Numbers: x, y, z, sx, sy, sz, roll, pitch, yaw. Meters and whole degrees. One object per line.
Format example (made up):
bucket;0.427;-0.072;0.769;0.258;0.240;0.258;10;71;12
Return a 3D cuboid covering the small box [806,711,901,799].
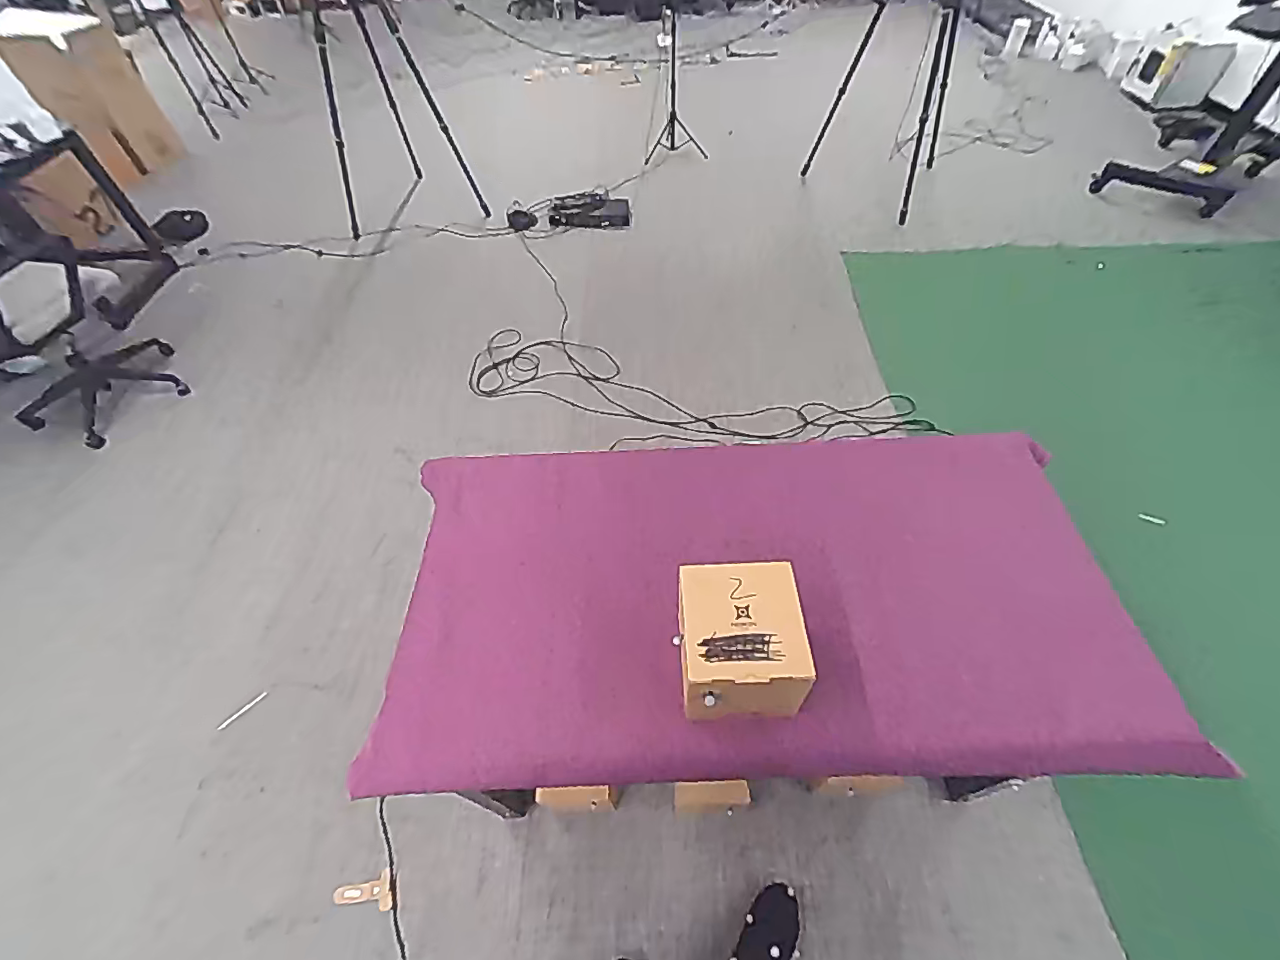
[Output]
small box;0.519;0.689;1.349;0.179;0.176;0.168;0;52;4

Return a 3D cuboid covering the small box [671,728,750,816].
small box;0.168;0.726;1.343;0.179;0.176;0.168;-2;51;3

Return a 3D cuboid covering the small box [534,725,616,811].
small box;-0.156;0.729;1.363;0.179;0.176;0.168;-3;52;1
